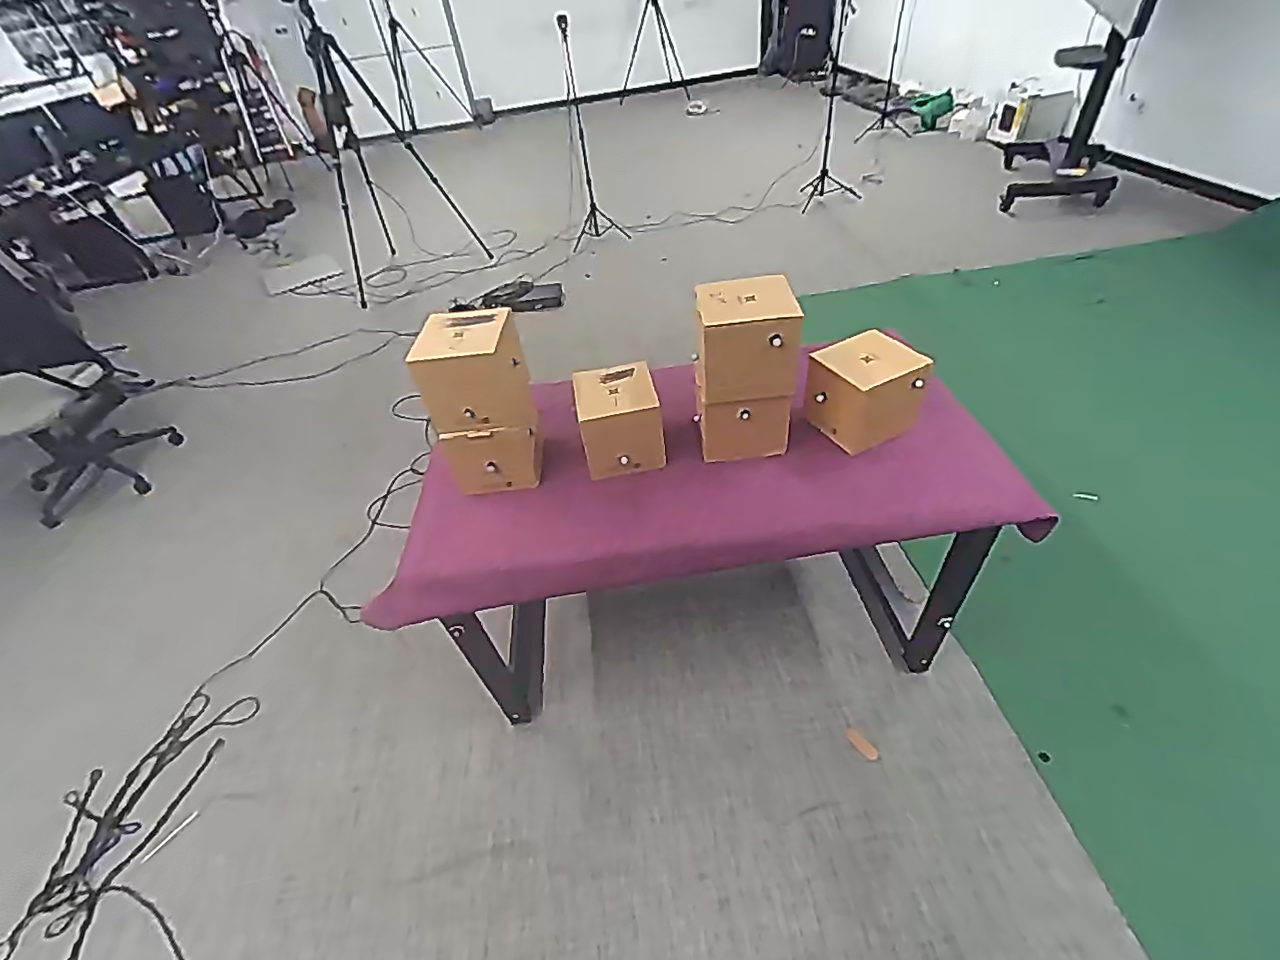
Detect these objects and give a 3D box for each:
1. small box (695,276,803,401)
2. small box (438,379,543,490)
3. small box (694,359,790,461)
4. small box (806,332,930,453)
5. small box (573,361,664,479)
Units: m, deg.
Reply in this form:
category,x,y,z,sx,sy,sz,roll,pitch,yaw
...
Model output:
category,x,y,z,sx,sy,sz,roll,pitch,yaw
small box,0.200,-0.269,1.037,0.179,0.176,0.168,-5,44,4
small box,-0.312,-0.093,1.170,0.168,0.176,0.179,-6,44,1
small box,0.212,-0.156,1.157,0.179,0.176,0.168,-5,44,3
small box,0.470,-0.183,1.146,0.179,0.176,0.168,-22,45,-14
small box,-0.046,-0.129,1.166,0.168,0.176,0.179,-11,44,-2
